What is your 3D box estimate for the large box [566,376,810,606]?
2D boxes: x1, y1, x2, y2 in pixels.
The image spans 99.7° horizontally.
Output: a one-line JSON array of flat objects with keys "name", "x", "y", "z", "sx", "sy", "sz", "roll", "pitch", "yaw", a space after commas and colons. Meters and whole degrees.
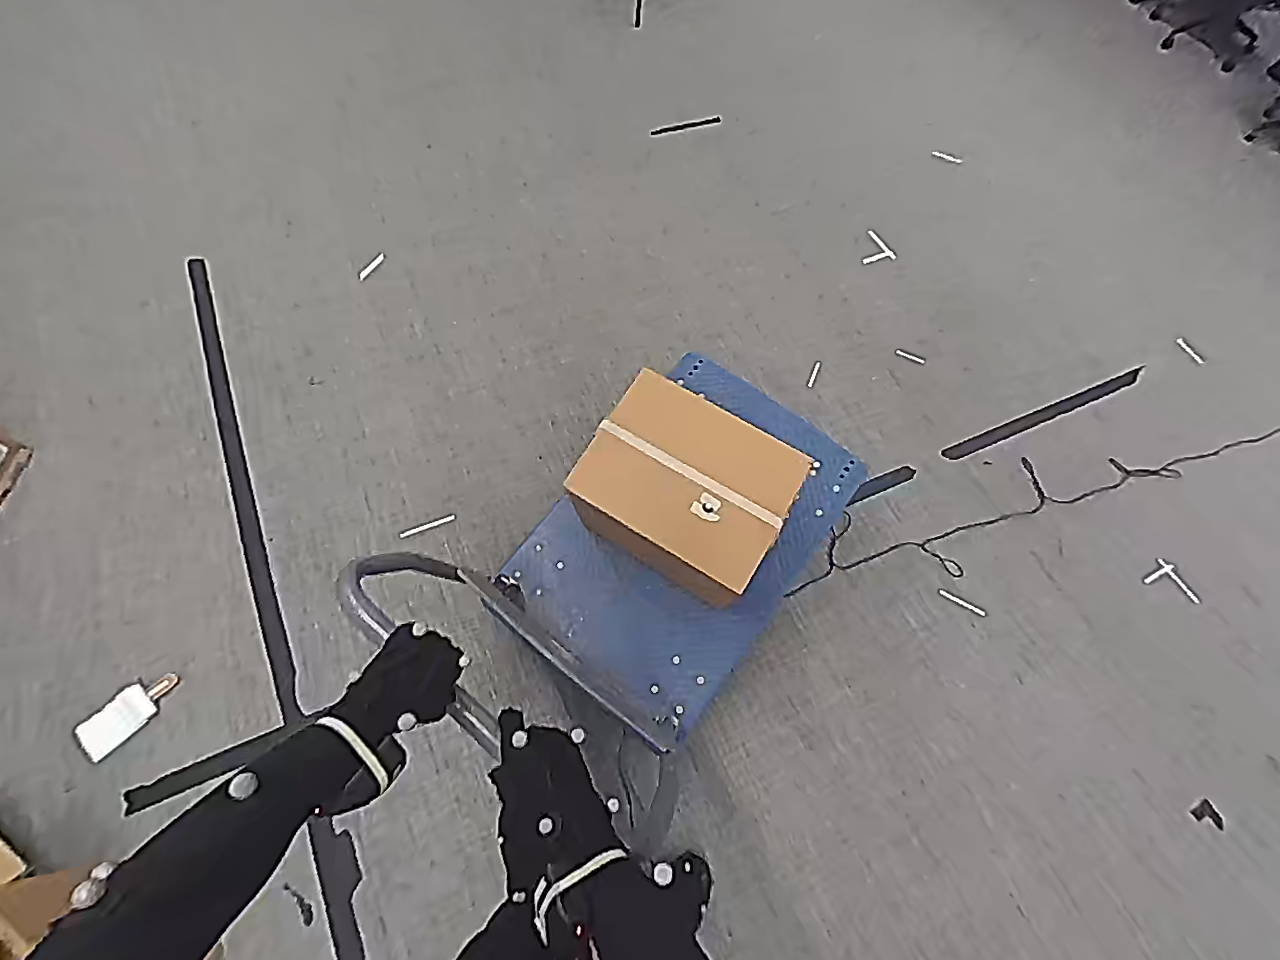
[{"name": "large box", "x": 0.095, "y": 0.039, "z": 1.216, "sx": 0.408, "sy": 0.320, "sz": 0.320, "roll": 30, "pitch": 75, "yaw": 9}]
